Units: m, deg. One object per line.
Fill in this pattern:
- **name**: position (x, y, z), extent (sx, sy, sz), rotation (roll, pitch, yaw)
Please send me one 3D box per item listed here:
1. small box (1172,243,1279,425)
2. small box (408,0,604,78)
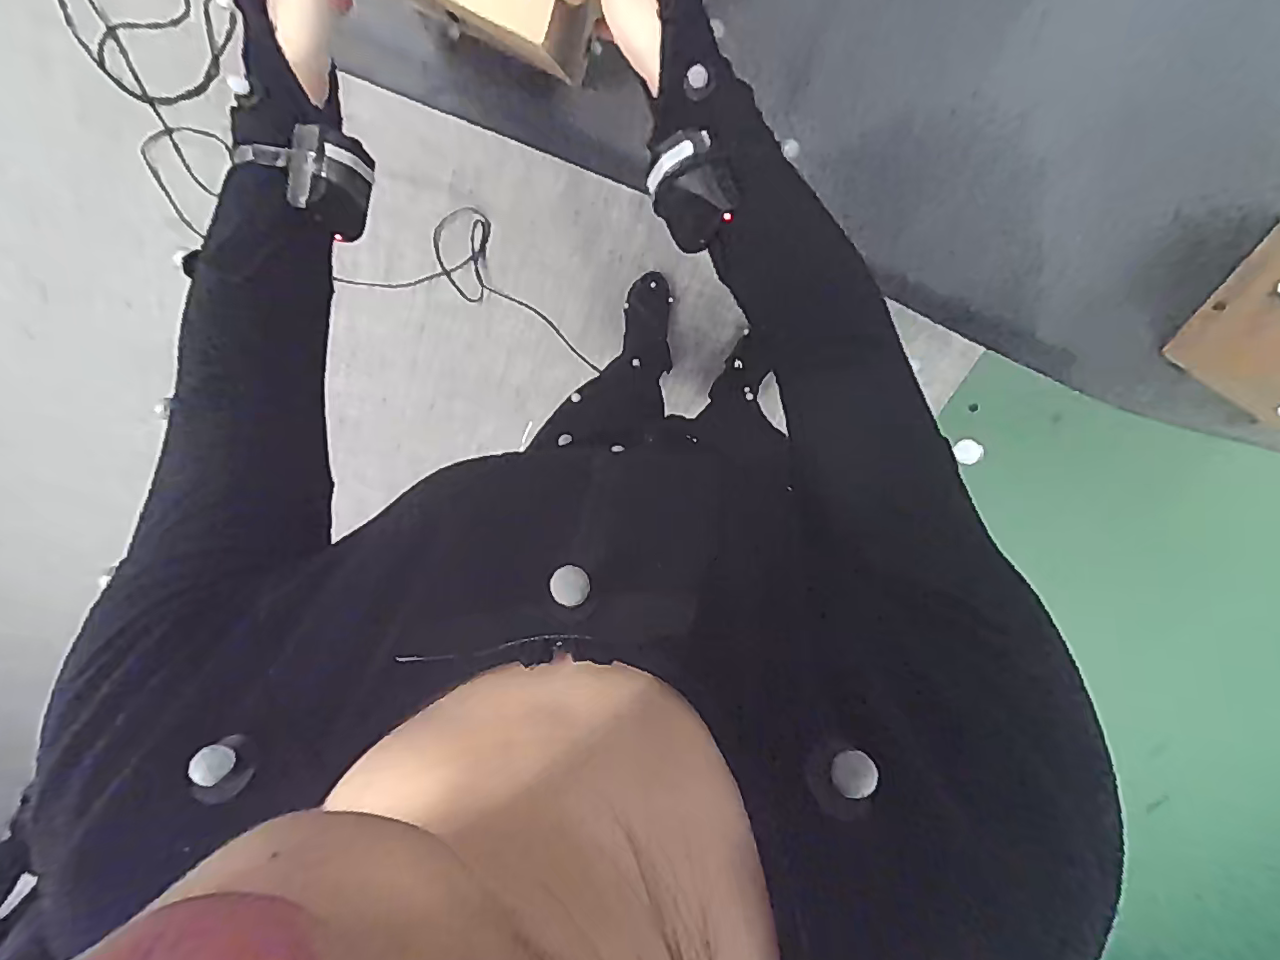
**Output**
- **small box**: position (0.702, -0.136, 0.525), extent (0.179, 0.176, 0.168), rotation (27, 113, -9)
- **small box**: position (-0.110, -0.449, 0.422), extent (0.179, 0.176, 0.168), rotation (22, 117, -7)
